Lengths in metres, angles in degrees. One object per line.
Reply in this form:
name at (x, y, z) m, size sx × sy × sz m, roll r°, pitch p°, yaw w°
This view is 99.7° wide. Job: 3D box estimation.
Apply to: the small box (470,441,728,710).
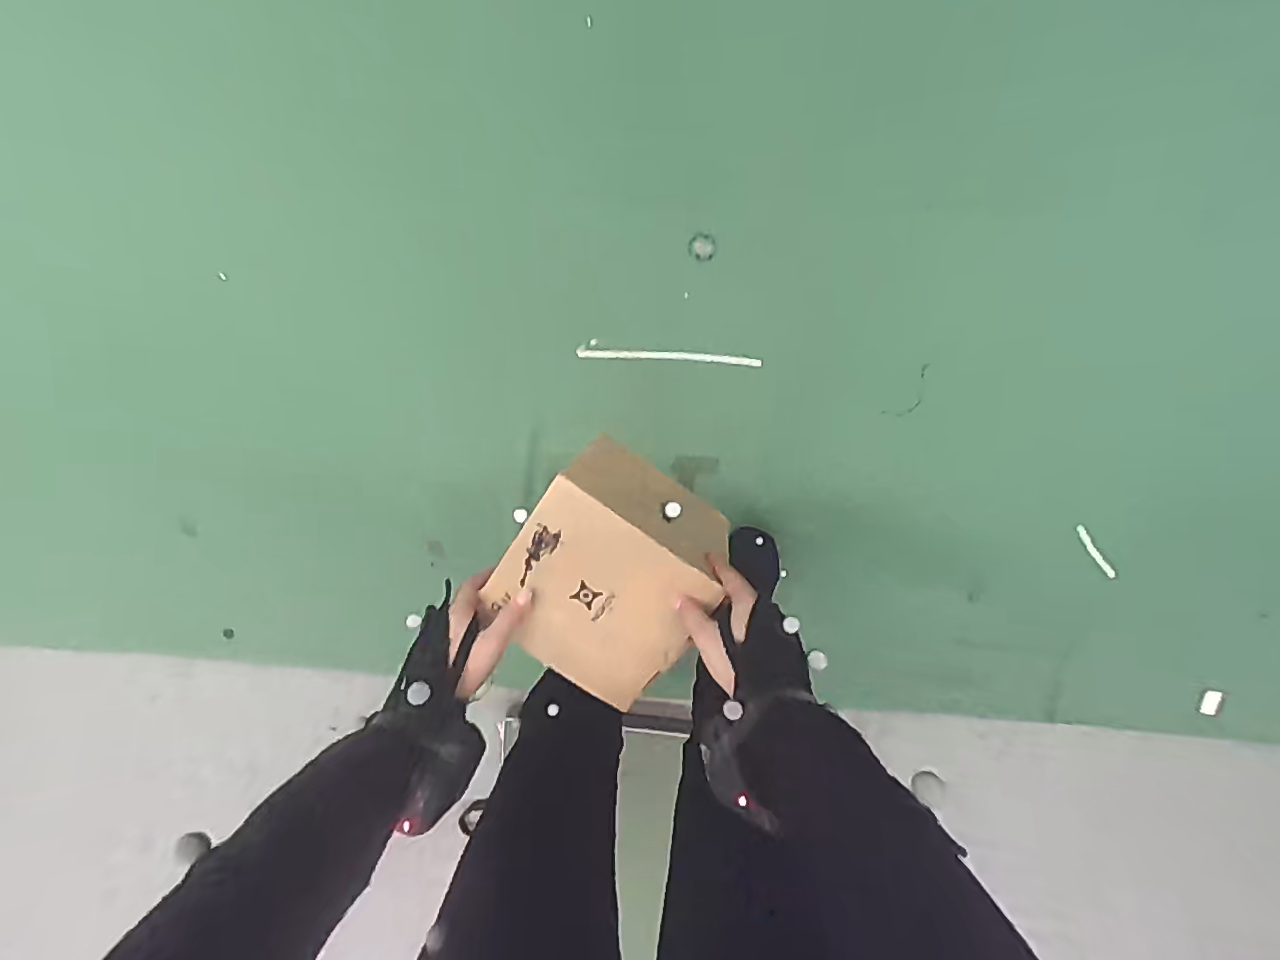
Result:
small box at (-0.030, 0.082, 0.546) m, size 0.179 × 0.176 × 0.168 m, roll 34°, pitch 108°, yaw -4°
